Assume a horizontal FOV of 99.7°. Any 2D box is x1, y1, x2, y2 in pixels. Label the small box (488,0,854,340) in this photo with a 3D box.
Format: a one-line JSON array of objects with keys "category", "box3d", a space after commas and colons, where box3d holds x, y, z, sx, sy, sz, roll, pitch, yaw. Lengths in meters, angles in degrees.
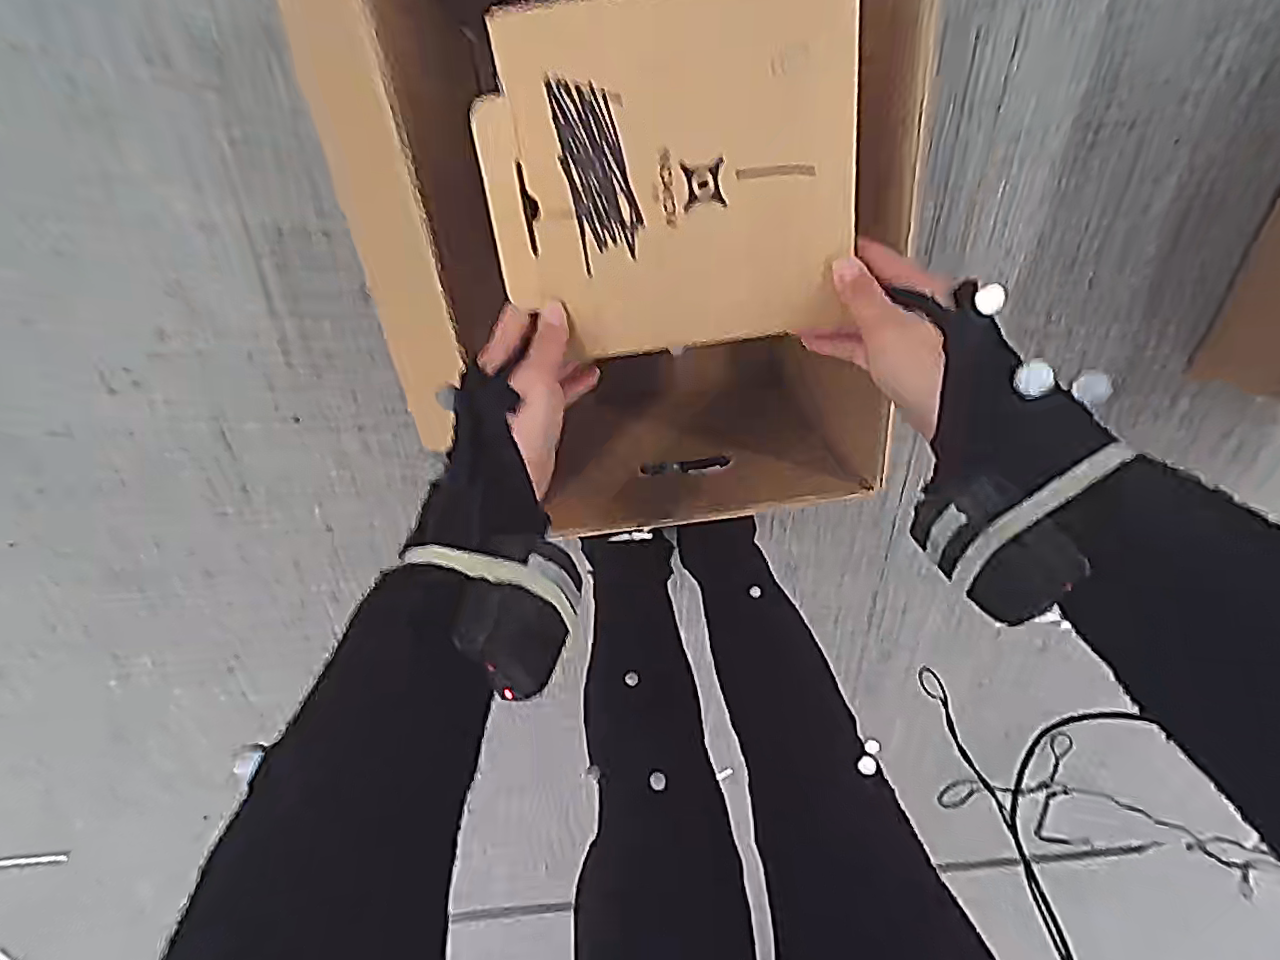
[{"category": "small box", "box3d": [0.023, -0.194, 0.355, 0.179, 0.176, 0.168, -6, 114, 3]}]
